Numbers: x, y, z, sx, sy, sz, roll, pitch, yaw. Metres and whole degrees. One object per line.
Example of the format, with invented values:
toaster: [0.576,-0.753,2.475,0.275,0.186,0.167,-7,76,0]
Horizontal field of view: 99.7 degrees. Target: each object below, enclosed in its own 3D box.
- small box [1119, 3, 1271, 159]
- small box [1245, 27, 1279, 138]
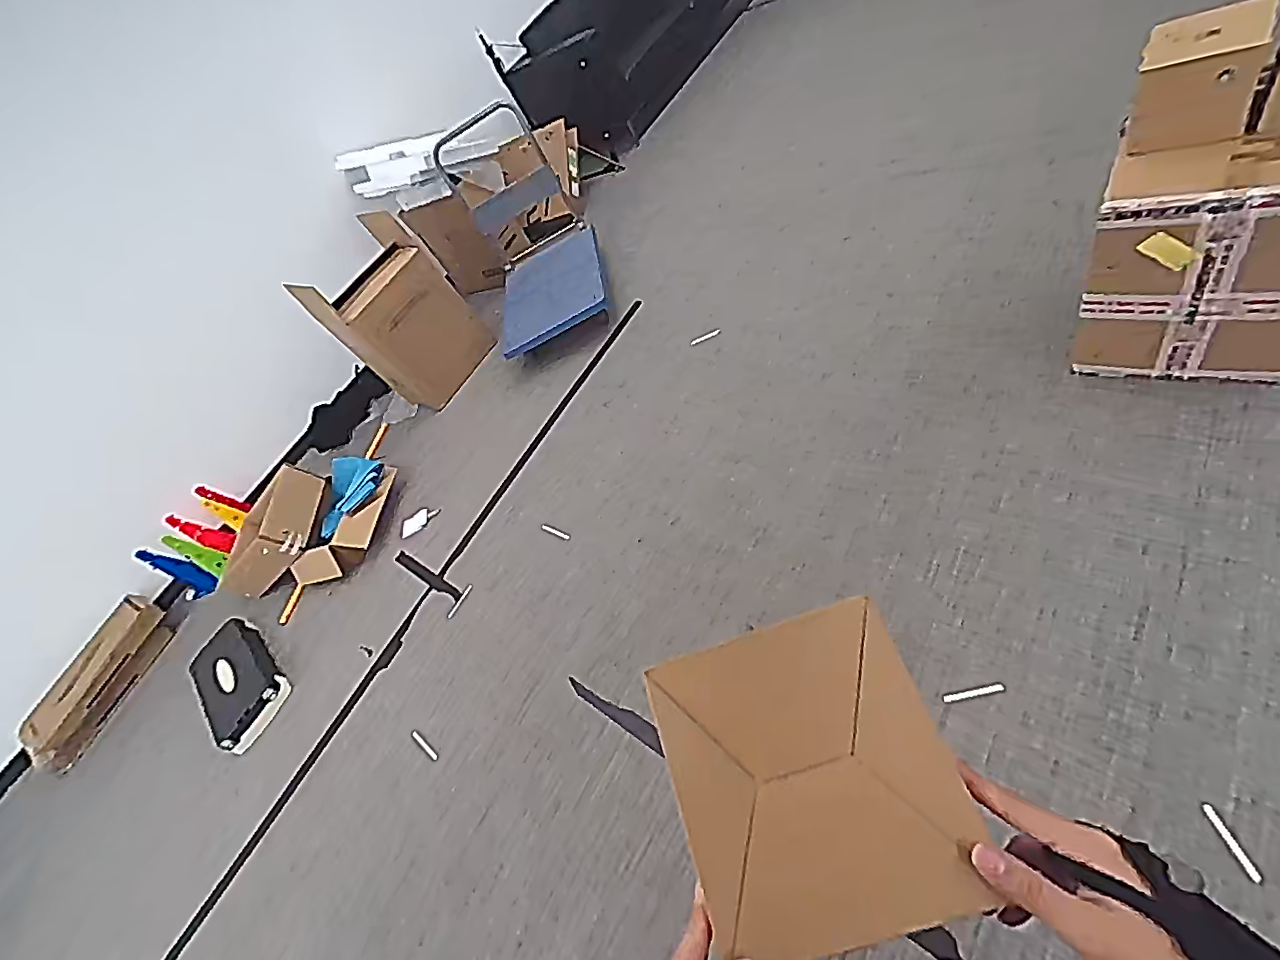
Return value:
small box: [1.094,-0.782,1.078,0.179,0.176,0.168,14,65,42]
small box: [1.240,-0.748,0.959,0.179,0.176,0.168,15,66,39]
